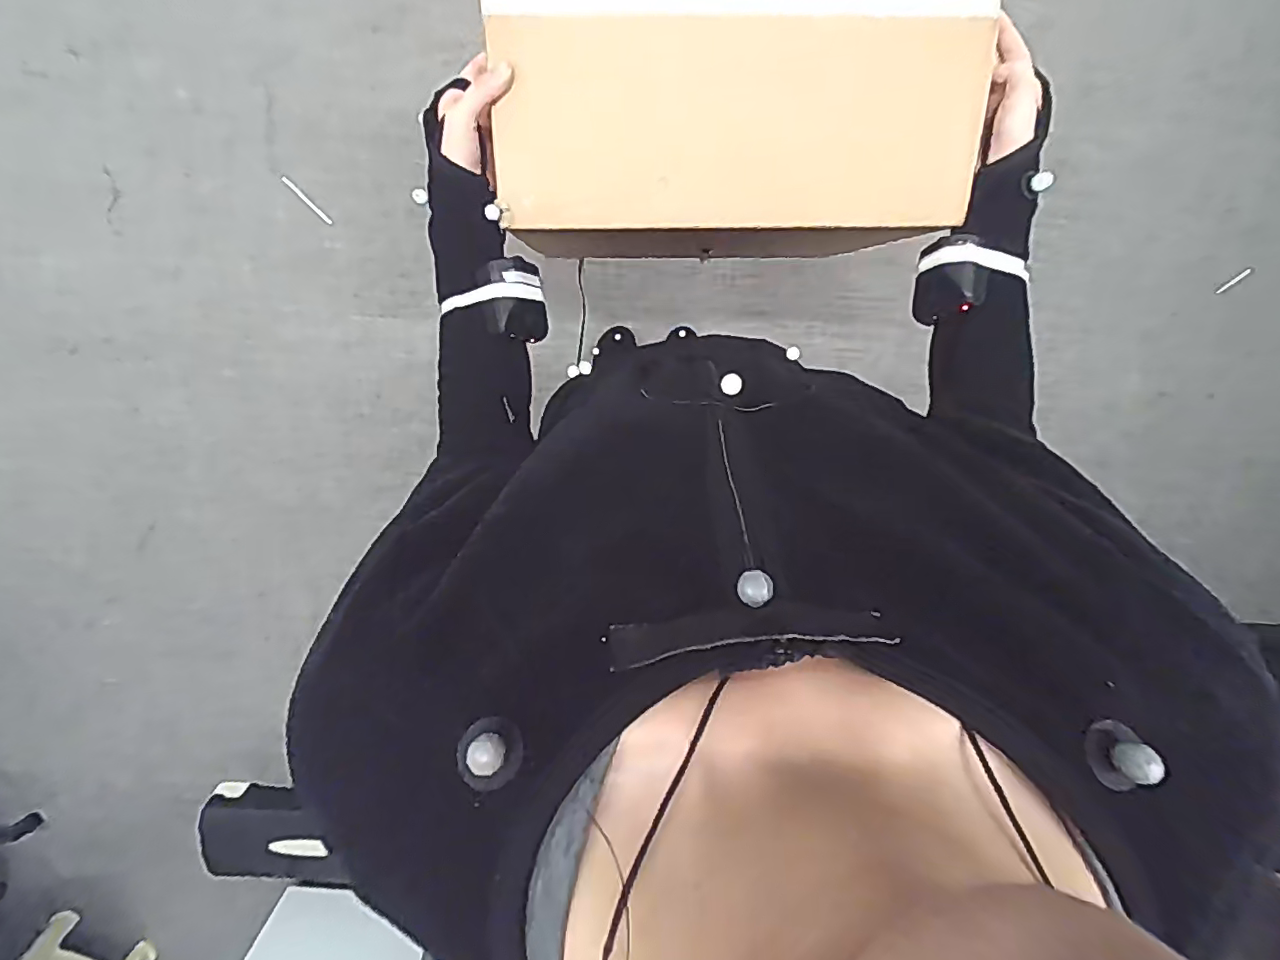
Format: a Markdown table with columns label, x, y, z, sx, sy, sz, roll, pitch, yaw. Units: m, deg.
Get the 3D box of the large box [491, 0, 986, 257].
| label | x | y | z | sx | sy | sz | roll | pitch | yaw |
| --- | --- | --- | --- | --- | --- | --- | --- | --- | --- |
| large box | 0.078 | -0.417 | 0.575 | 0.408 | 0.320 | 0.320 | -1 | 107 | -1 |
